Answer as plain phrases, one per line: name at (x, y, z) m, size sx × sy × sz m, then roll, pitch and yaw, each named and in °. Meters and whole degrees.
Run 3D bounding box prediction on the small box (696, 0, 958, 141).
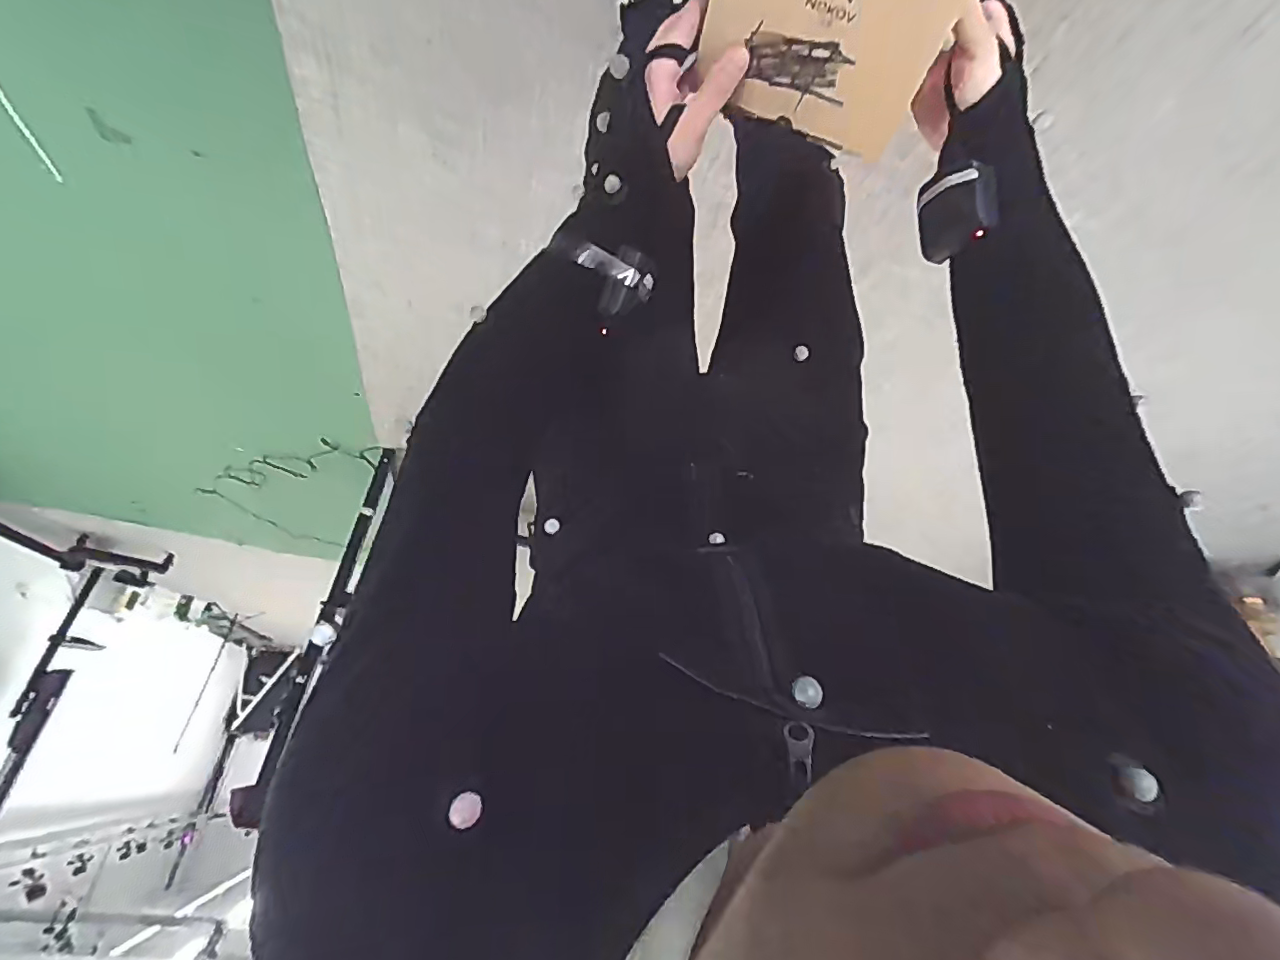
small box at (0.159, -0.408, 0.410) m, size 0.168 × 0.176 × 0.179 m, roll 20°, pitch 145°, yaw 0°
